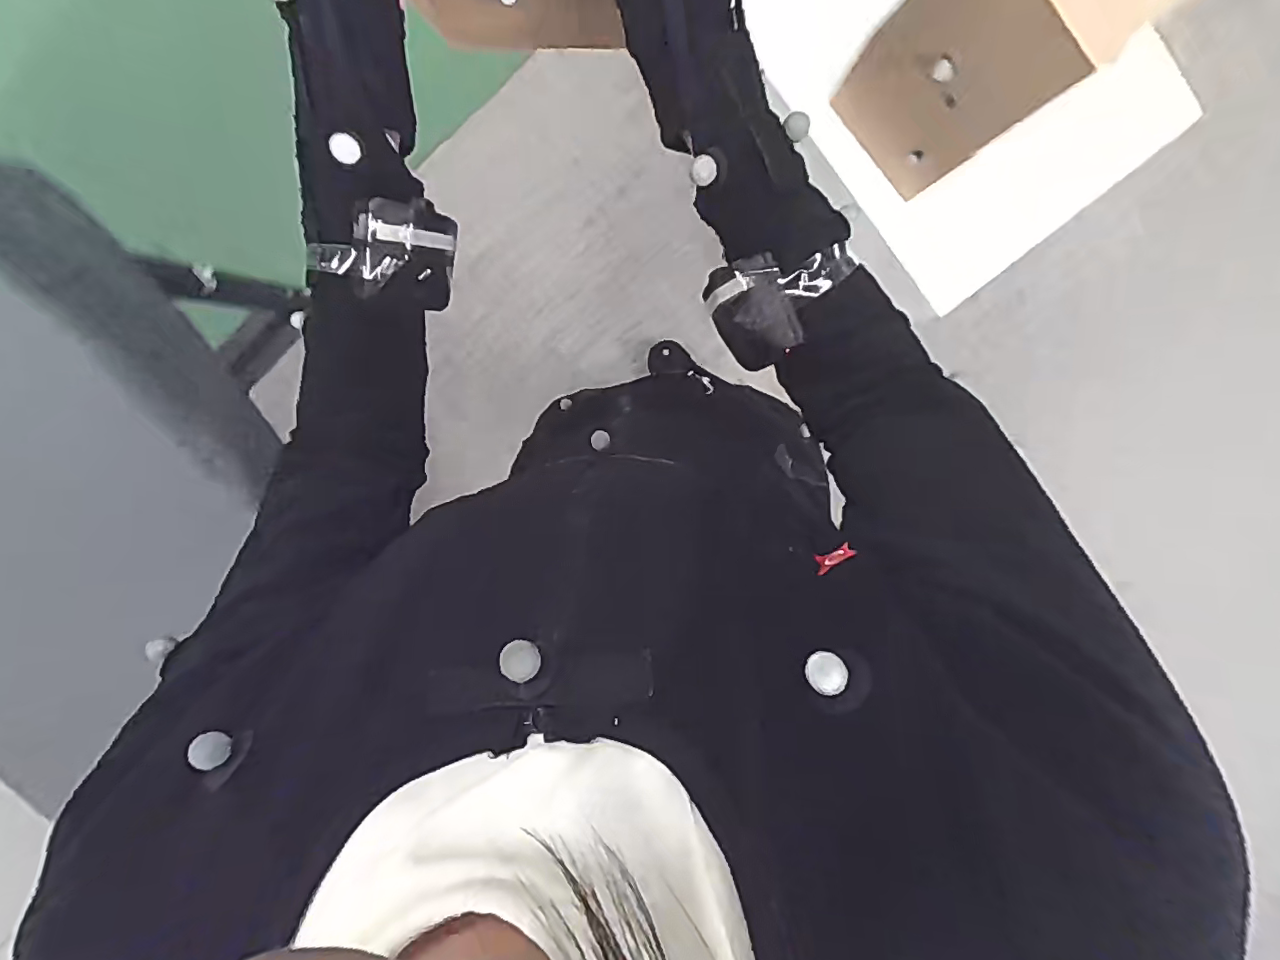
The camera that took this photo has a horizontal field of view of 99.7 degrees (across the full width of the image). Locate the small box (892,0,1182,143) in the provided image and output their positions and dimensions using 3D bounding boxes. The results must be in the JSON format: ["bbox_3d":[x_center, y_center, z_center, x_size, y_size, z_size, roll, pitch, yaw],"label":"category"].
[{"bbox_3d":[0.358,-0.441,0.456,0.168,0.176,0.179,44,98,-7],"label":"small box"}]

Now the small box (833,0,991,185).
[{"bbox_3d":[0.356,-0.473,0.618,0.168,0.176,0.179,-43,96,9],"label":"small box"}]
